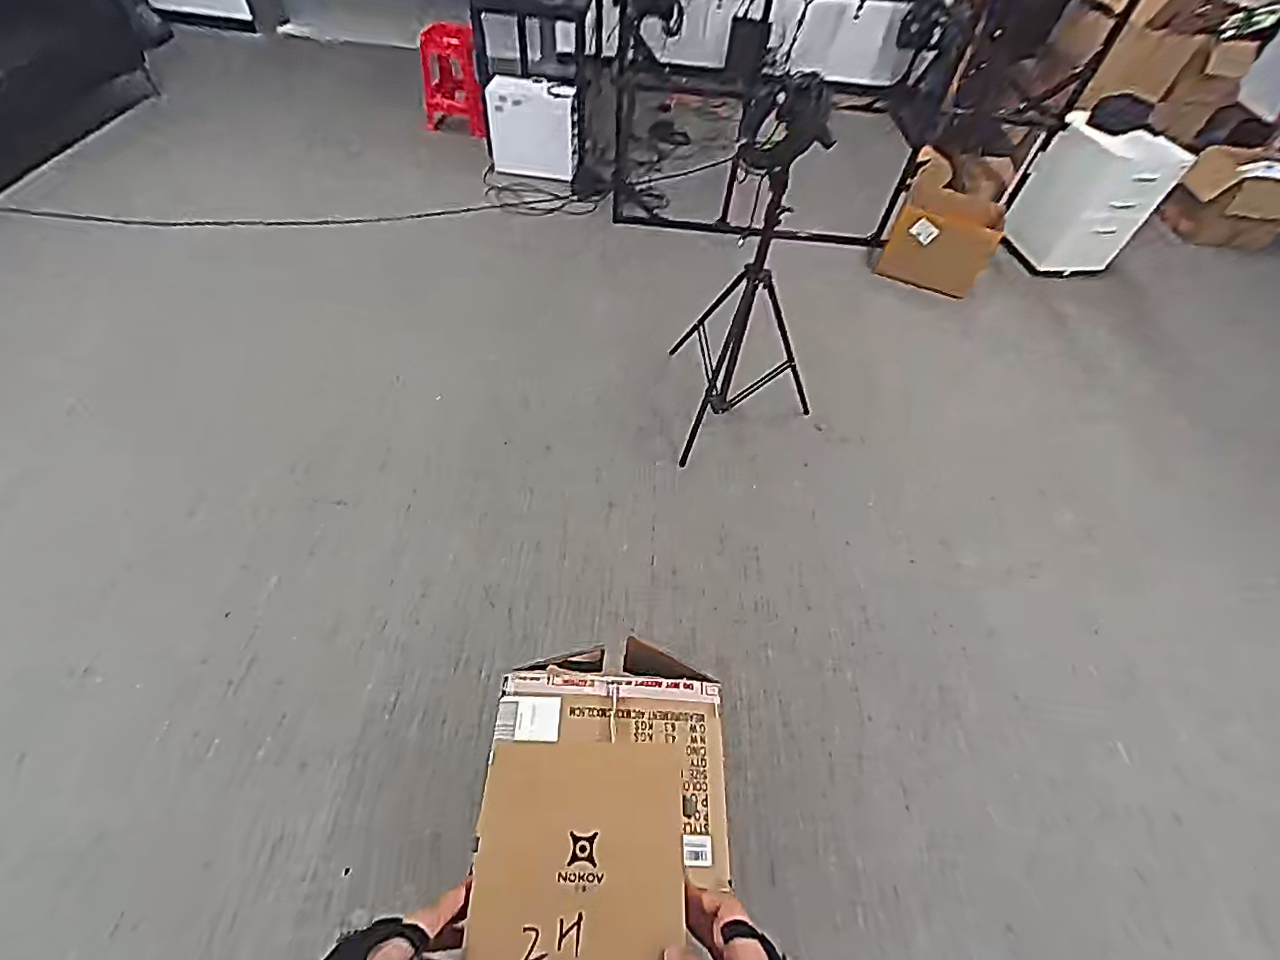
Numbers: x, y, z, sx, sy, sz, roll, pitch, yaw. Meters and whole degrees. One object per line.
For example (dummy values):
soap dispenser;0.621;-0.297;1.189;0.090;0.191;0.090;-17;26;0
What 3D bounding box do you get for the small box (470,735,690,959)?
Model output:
small box;-0.047;0.349;0.500;0.168;0.176;0.179;1;55;-2
